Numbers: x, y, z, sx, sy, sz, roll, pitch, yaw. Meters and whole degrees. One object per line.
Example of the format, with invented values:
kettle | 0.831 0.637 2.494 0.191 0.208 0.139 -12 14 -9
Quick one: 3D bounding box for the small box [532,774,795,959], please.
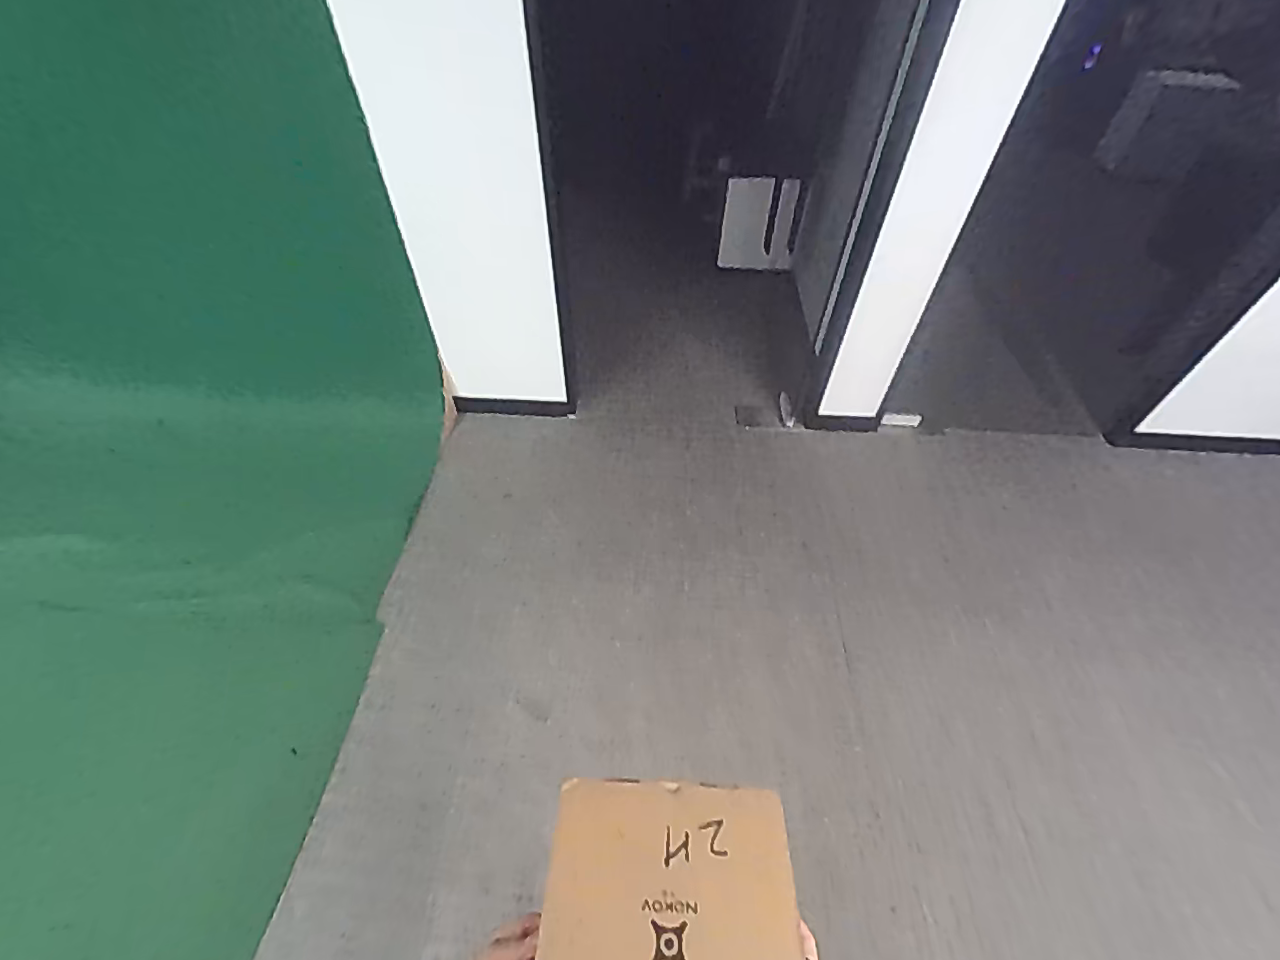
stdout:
small box | 0.014 0.347 0.397 0.168 0.176 0.179 4 39 1
